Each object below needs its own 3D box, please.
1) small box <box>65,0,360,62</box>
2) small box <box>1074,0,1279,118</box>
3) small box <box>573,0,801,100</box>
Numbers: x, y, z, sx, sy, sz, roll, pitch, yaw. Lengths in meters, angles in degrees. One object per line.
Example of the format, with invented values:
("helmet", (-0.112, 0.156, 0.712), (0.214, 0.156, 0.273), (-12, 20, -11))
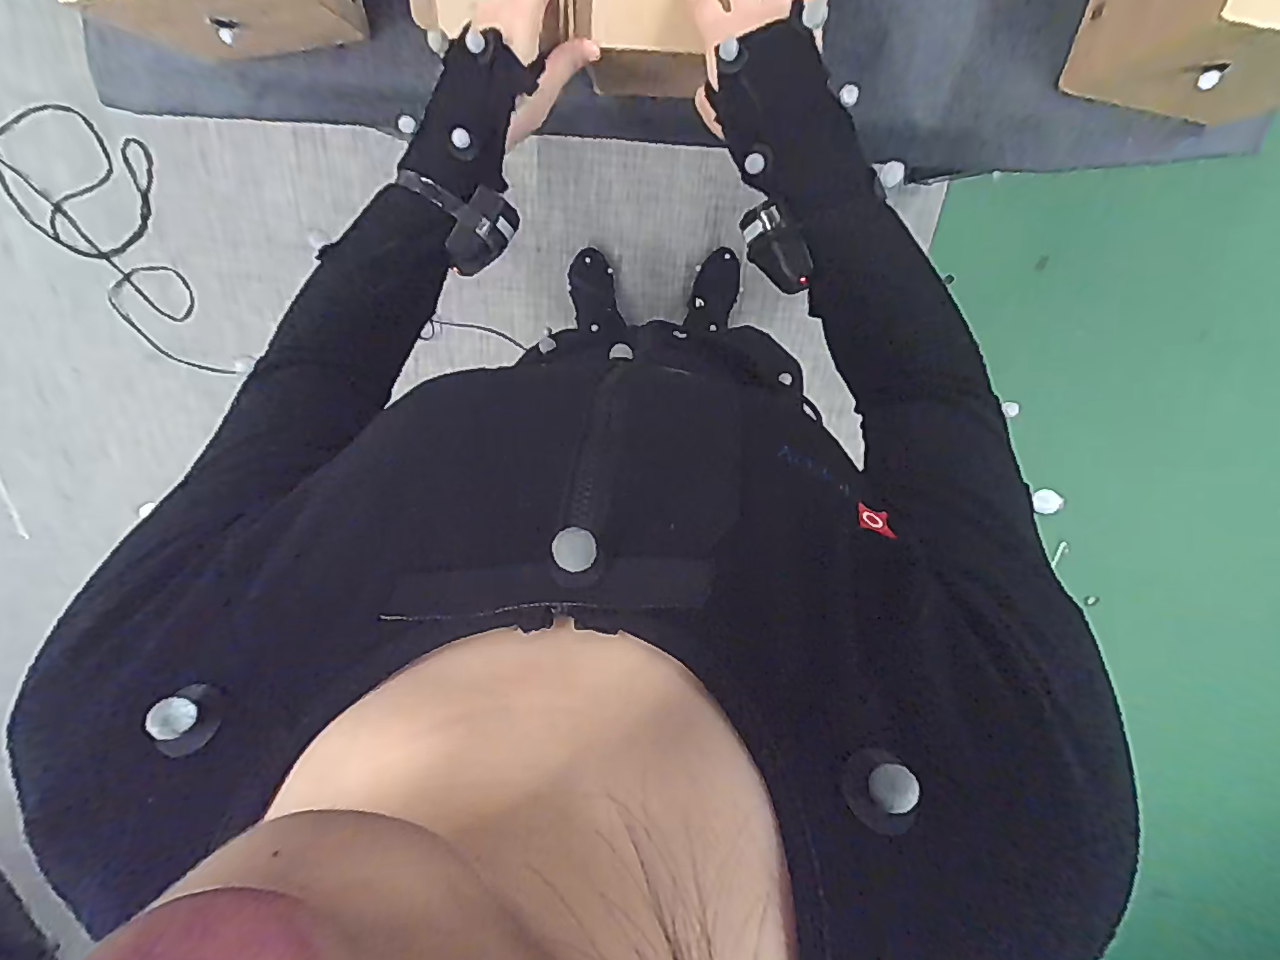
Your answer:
("small box", (-0.365, -0.479, 0.451), (0.179, 0.176, 0.168), (-6, 115, 4))
("small box", (0.530, -0.432, 0.456), (0.179, 0.176, 0.168), (10, 111, -2))
("small box", (0.039, -0.442, 0.464), (0.179, 0.176, 0.168), (1, 115, 0))
